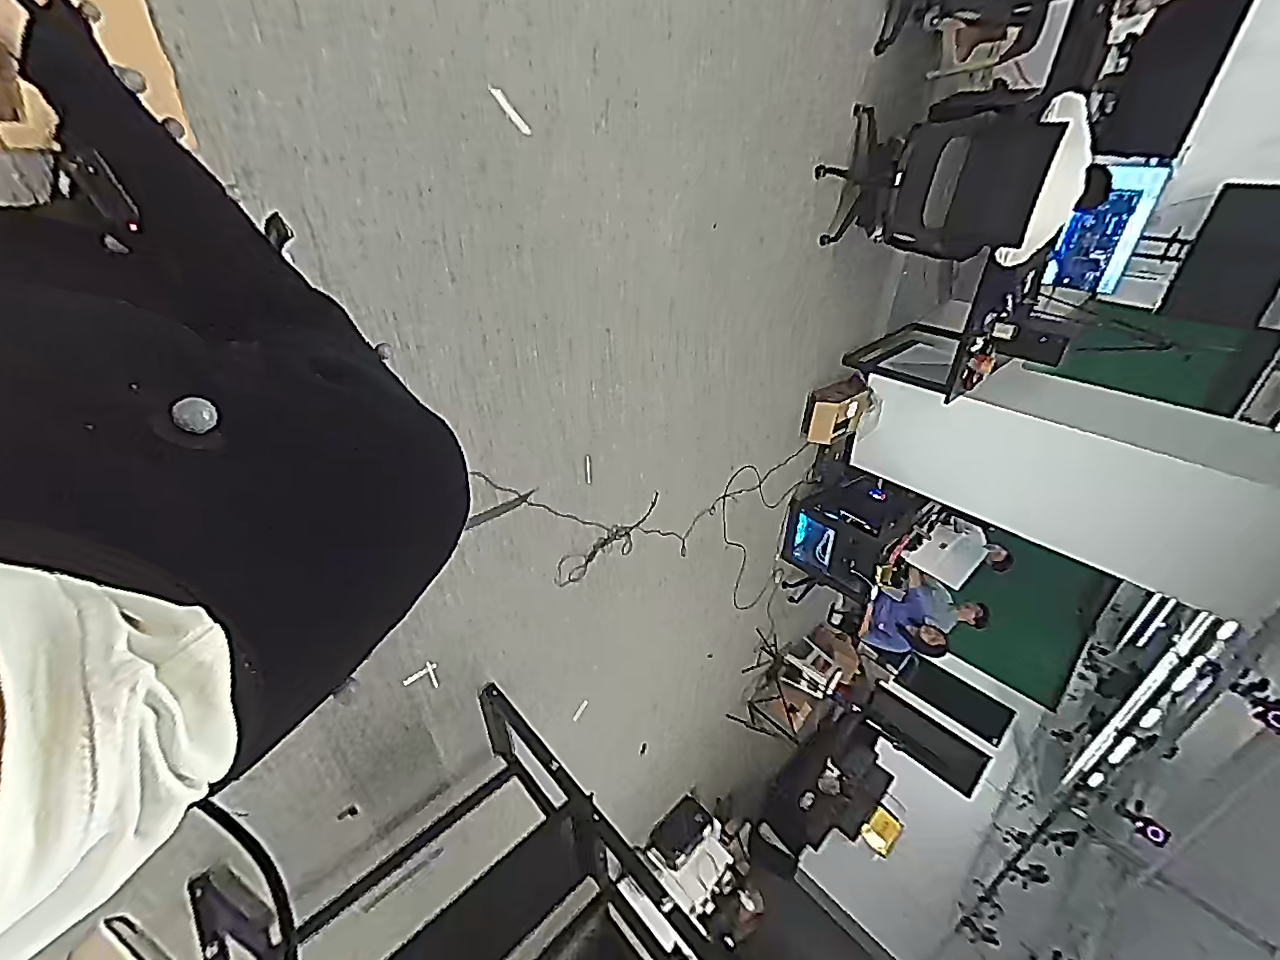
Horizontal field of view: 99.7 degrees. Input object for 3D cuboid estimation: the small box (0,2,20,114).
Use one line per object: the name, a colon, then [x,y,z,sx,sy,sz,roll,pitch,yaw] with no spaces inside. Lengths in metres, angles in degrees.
small box: [-0.616,-0.390,0.396,0.179,0.176,0.168,-29,113,-39]
